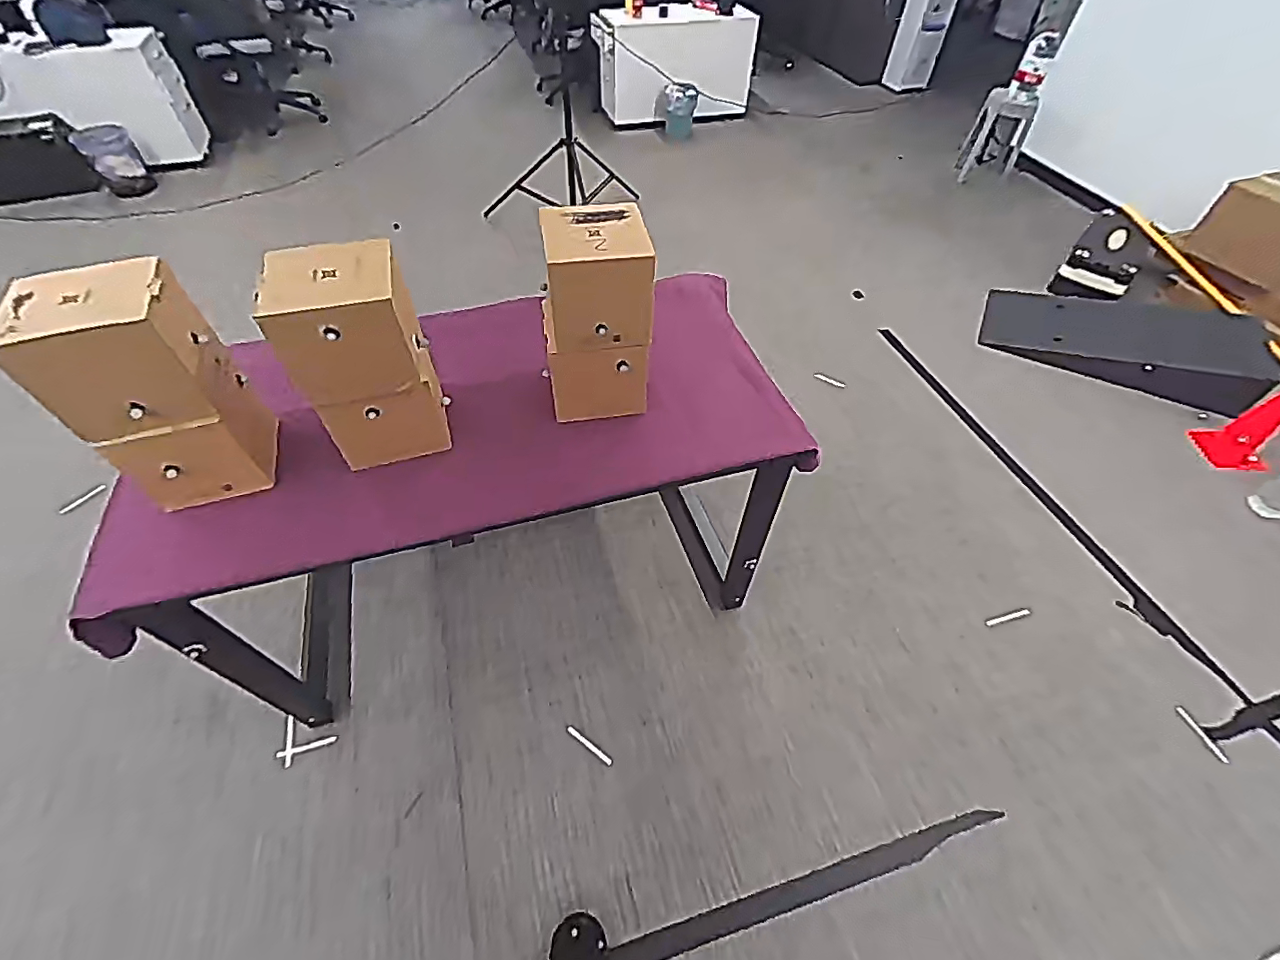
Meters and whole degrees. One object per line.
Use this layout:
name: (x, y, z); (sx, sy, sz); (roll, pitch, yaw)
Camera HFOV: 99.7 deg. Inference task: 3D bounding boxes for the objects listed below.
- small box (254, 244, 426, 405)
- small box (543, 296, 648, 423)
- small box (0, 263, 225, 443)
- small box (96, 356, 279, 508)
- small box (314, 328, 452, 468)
small box: (-0.444, -0.234, 0.827); (0.179, 0.176, 0.168); (-12, 54, -13)
small box: (-0.086, -0.230, 1.041); (0.179, 0.176, 0.168); (-8, 51, -7)
small box: (-0.734, -0.180, 0.774); (0.179, 0.176, 0.168); (-17, 53, -16)
small box: (-0.731, -0.073, 0.898); (0.168, 0.176, 0.179); (-16, 53, -14)
small box: (-0.451, -0.143, 0.961); (0.179, 0.176, 0.168); (-14, 53, -14)
